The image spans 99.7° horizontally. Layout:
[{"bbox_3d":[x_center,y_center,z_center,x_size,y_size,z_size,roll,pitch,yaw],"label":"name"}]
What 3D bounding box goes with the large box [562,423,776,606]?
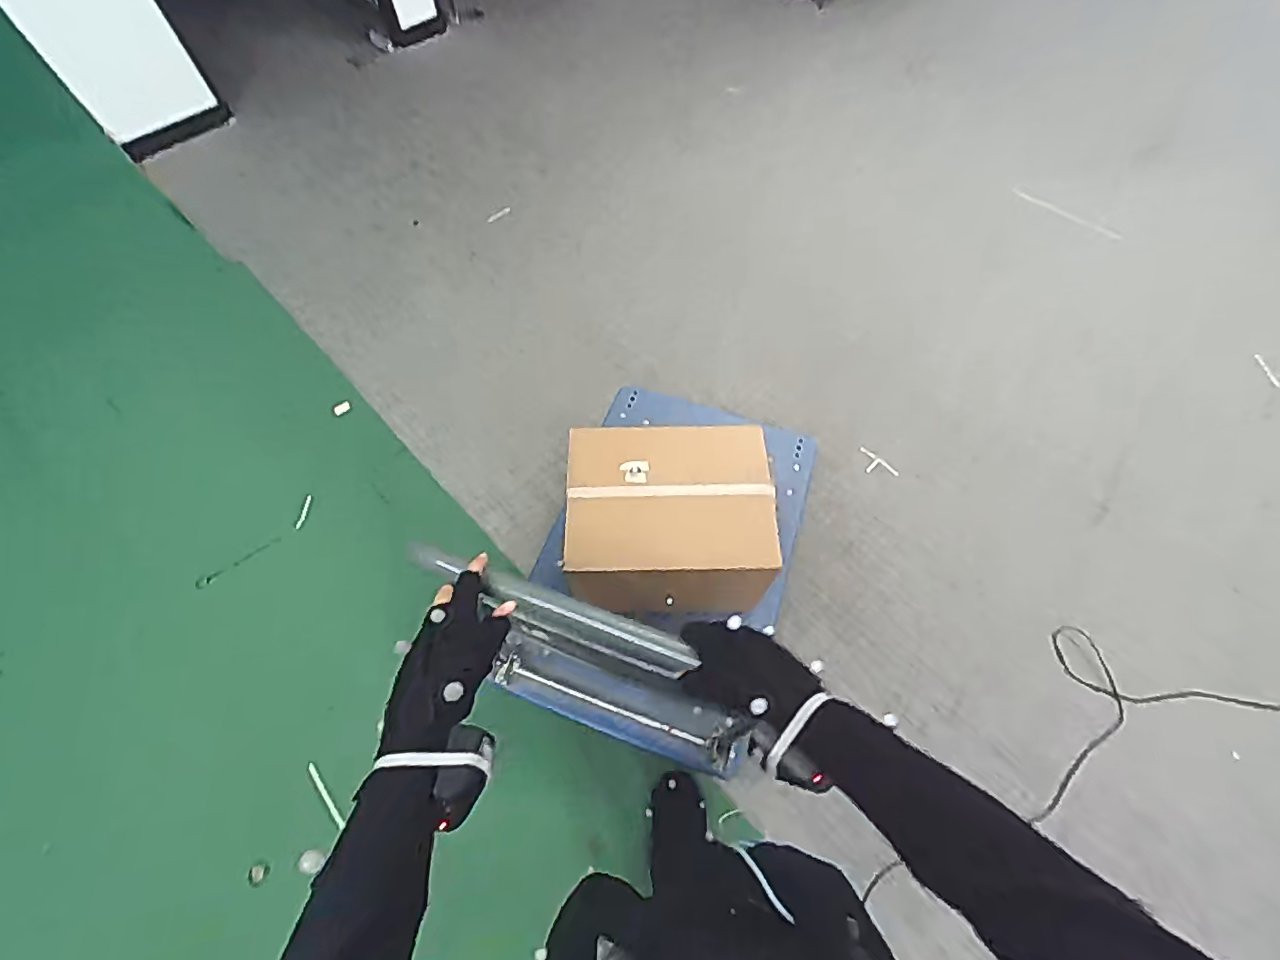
[{"bbox_3d":[0.055,0.091,1.200,0.408,0.320,0.320,-1,62,1],"label":"large box"}]
